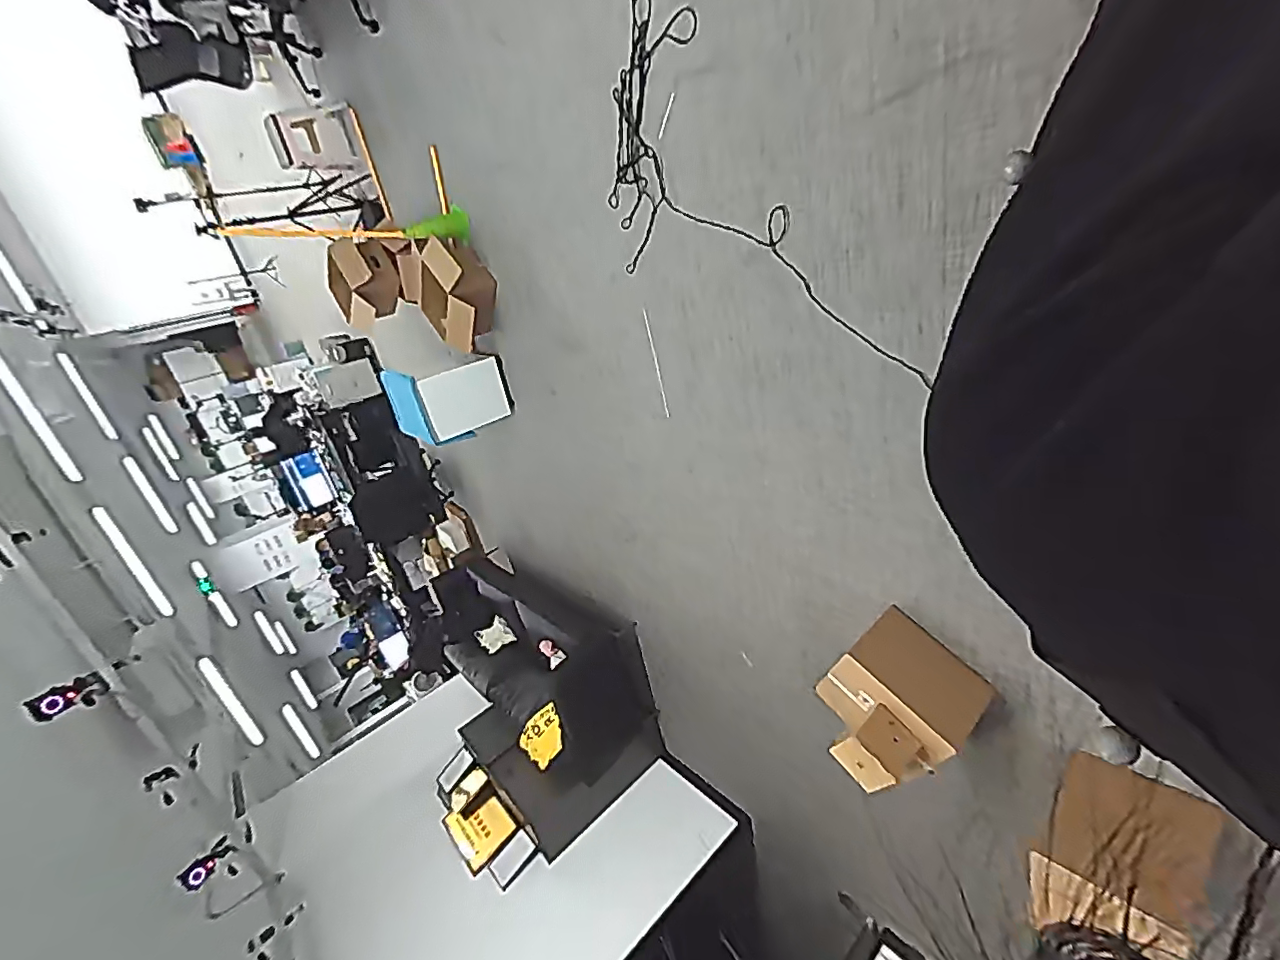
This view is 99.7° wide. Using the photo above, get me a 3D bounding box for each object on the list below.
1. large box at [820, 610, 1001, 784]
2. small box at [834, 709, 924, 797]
[{"bbox_3d":[0.920,0.739,1.871,0.408,0.320,0.320,44,144,29],"label":"large box"},{"bbox_3d":[0.766,0.870,1.729,0.168,0.176,0.179,46,145,24],"label":"small box"}]
